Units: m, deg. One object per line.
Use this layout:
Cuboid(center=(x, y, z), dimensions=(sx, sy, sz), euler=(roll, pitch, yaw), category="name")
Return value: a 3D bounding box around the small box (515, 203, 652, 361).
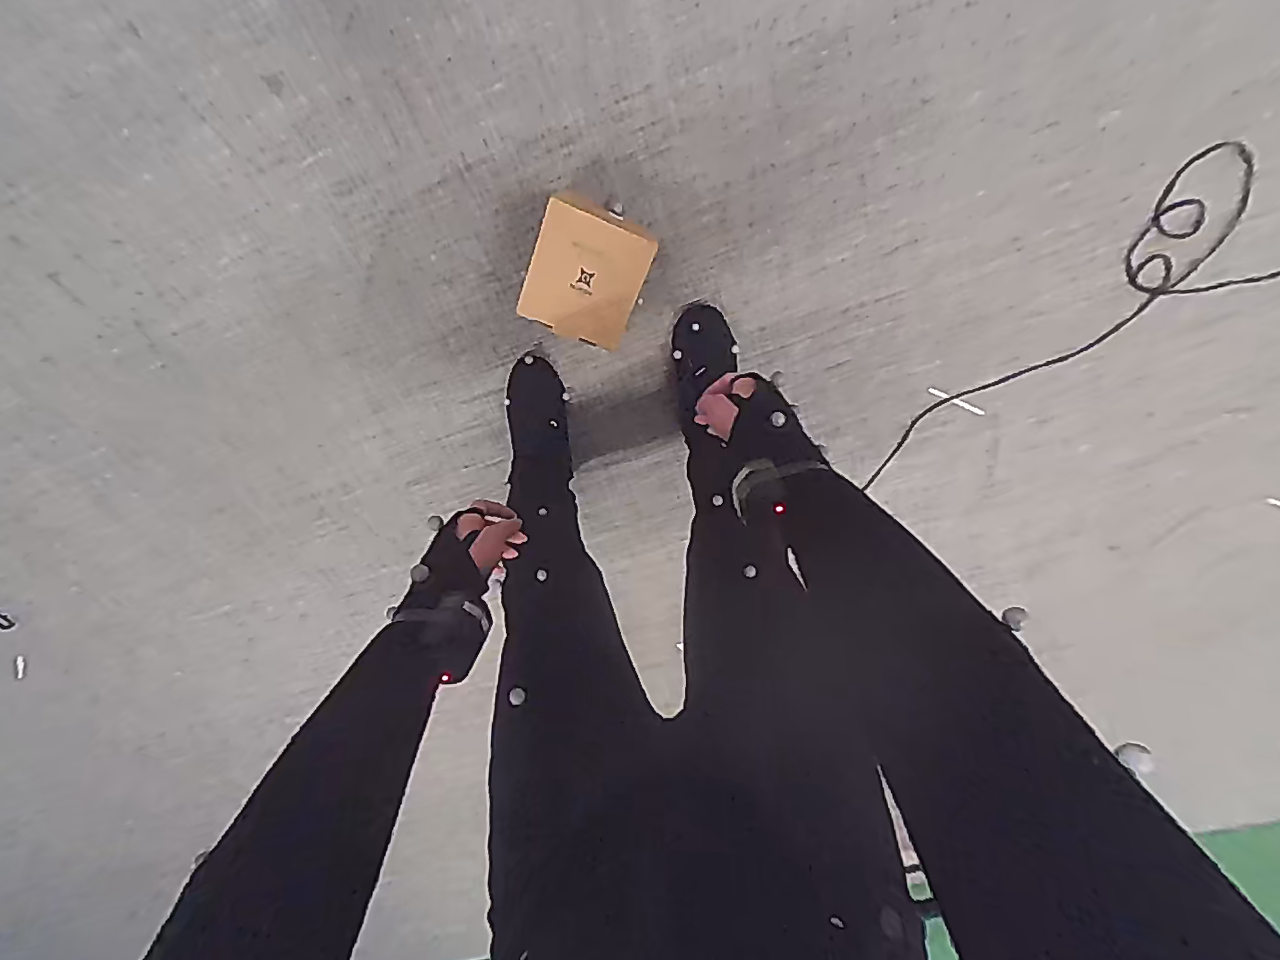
Cuboid(center=(-0.089, -0.325, 0.877), dimensions=(0.168, 0.176, 0.179), euler=(19, 118, -13), category="small box")
